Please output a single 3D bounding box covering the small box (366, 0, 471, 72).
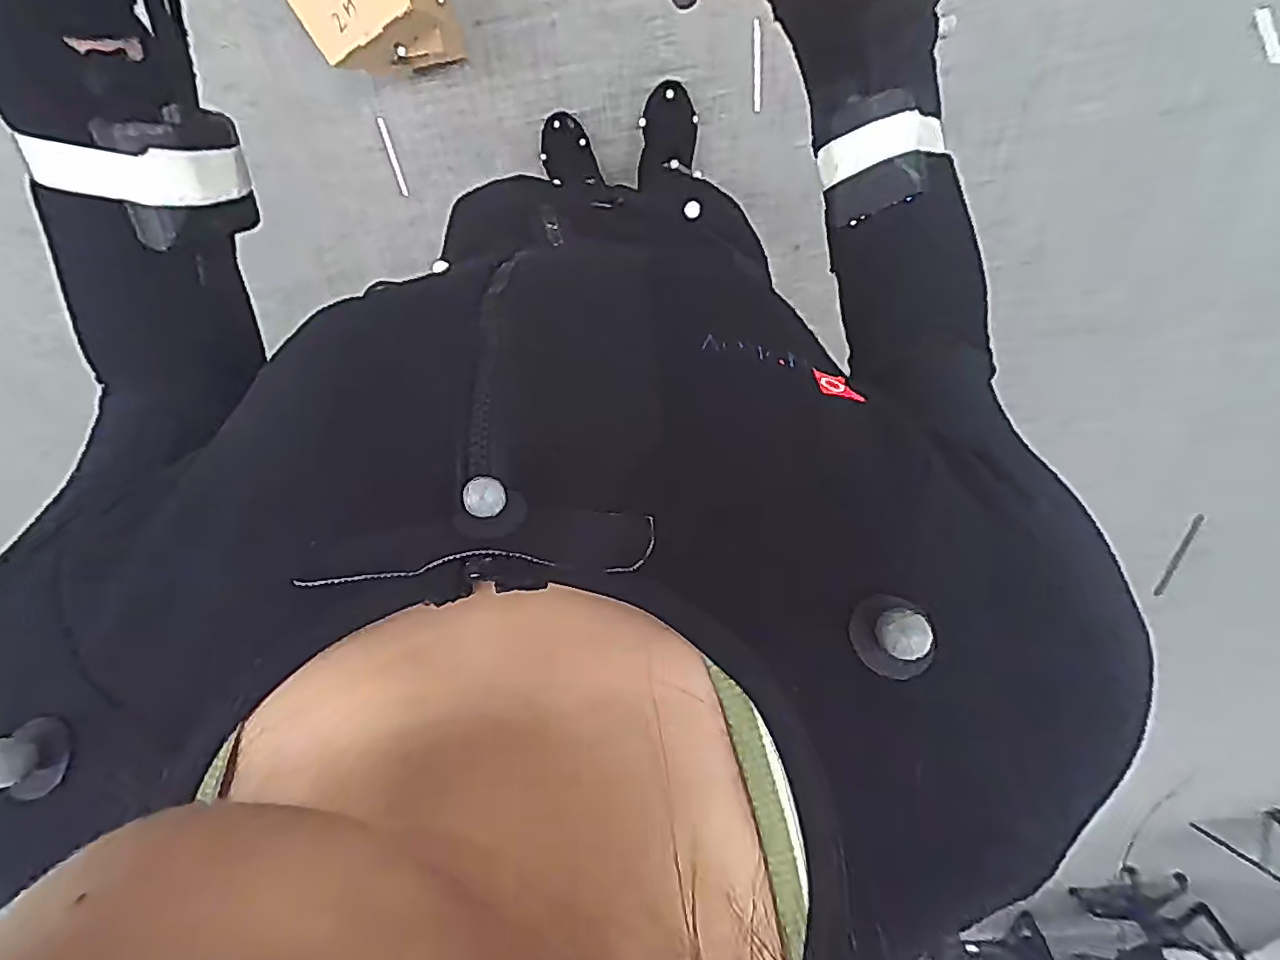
[{"bbox_3d":[-0.431,-0.871,0.992,0.168,0.176,0.179,-7,124,6],"label":"small box"}]

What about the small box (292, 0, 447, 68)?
[{"bbox_3d":[-0.440,-0.784,0.852,0.168,0.176,0.179,-17,125,14],"label":"small box"}]
